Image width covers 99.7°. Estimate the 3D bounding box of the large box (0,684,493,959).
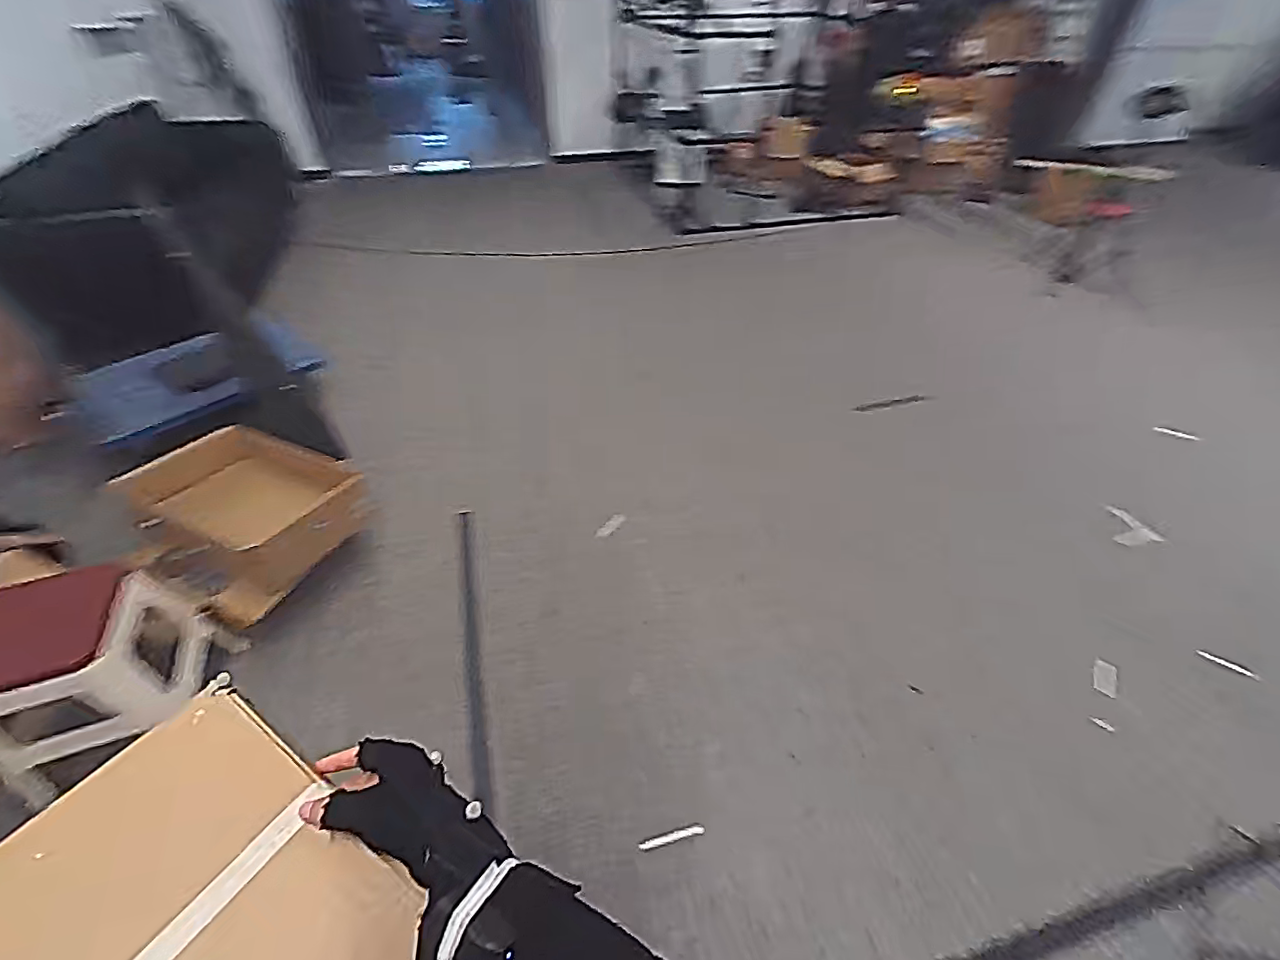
[{"bbox_3d":[-0.377,0.473,0.439,0.320,0.320,0.408,32,48,18],"label":"large box"}]
